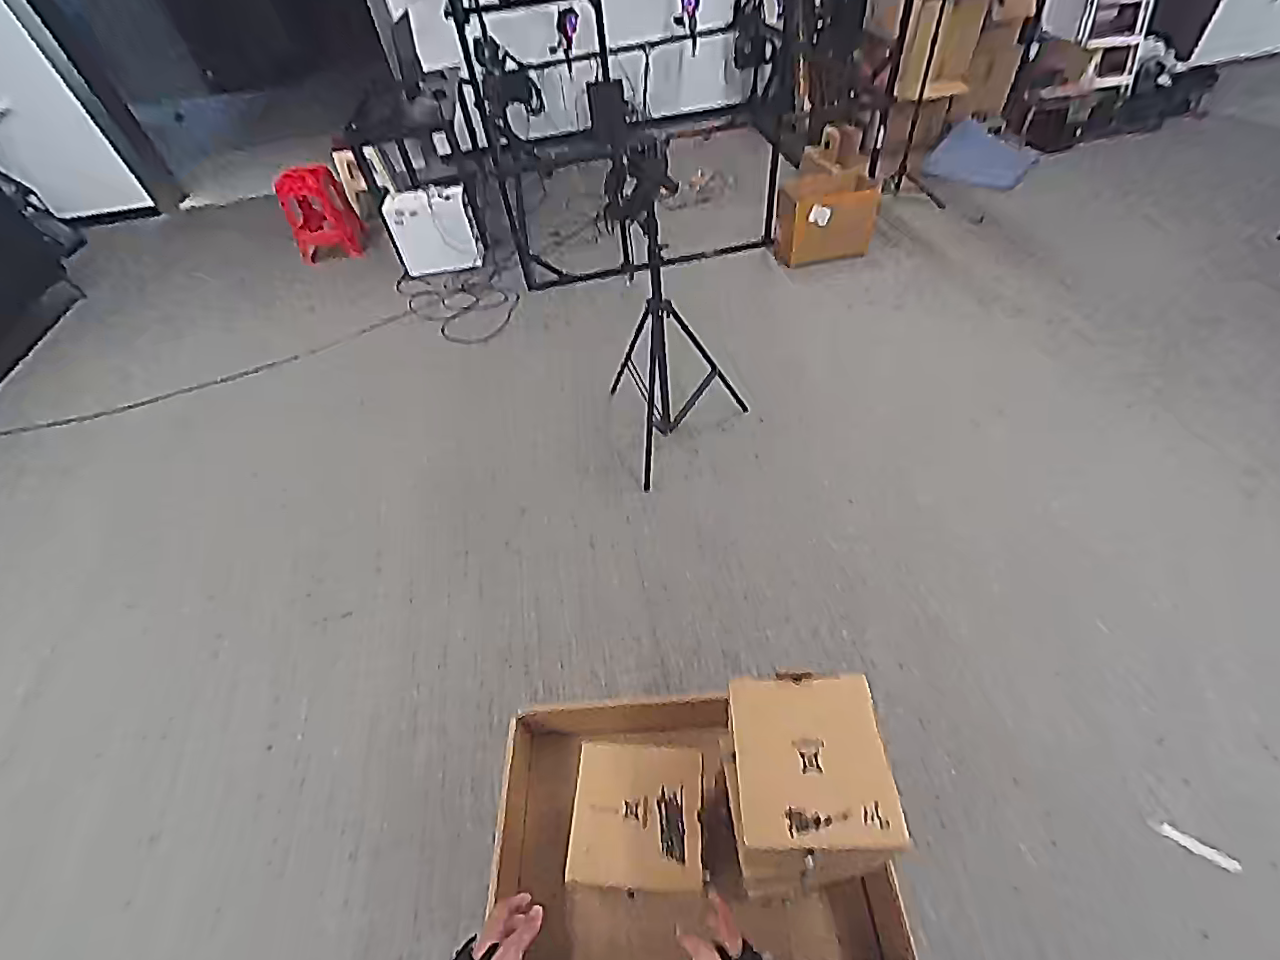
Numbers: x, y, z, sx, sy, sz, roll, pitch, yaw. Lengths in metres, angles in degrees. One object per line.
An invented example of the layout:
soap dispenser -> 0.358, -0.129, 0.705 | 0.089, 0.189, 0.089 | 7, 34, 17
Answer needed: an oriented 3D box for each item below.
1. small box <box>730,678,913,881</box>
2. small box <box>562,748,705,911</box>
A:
small box -> 0.195, 0.356, 0.643 | 0.168, 0.176, 0.179 | -4, 47, 6
small box -> 0.002, 0.497, 0.768 | 0.179, 0.176, 0.168 | 1, 48, 6
